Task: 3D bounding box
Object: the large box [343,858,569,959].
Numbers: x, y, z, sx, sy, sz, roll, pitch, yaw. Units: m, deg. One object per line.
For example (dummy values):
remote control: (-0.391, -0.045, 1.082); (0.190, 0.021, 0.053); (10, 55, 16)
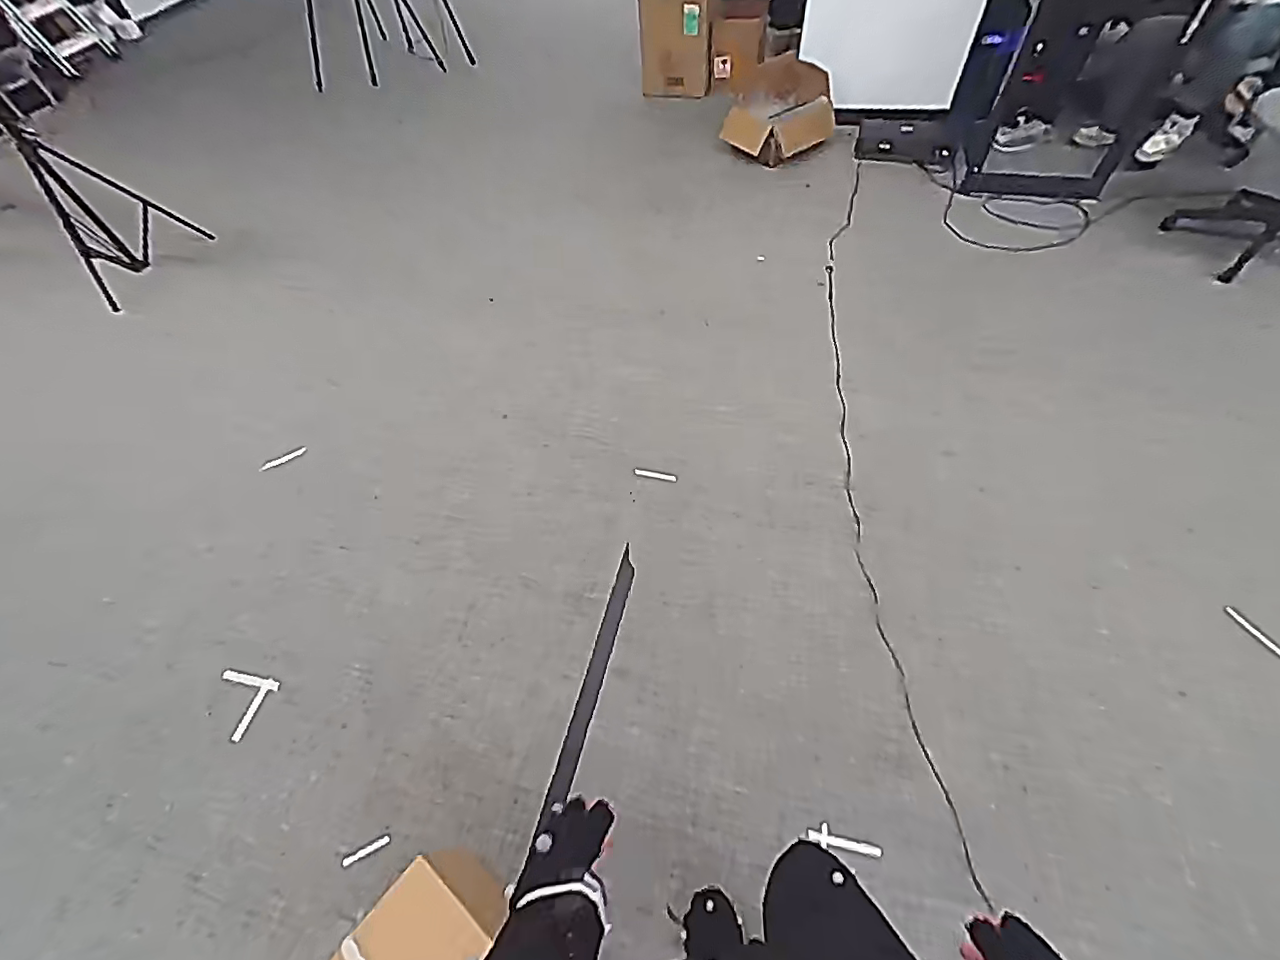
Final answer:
large box: (-0.316, 0.962, 0.963); (0.408, 0.320, 0.320); (31, 63, 23)
